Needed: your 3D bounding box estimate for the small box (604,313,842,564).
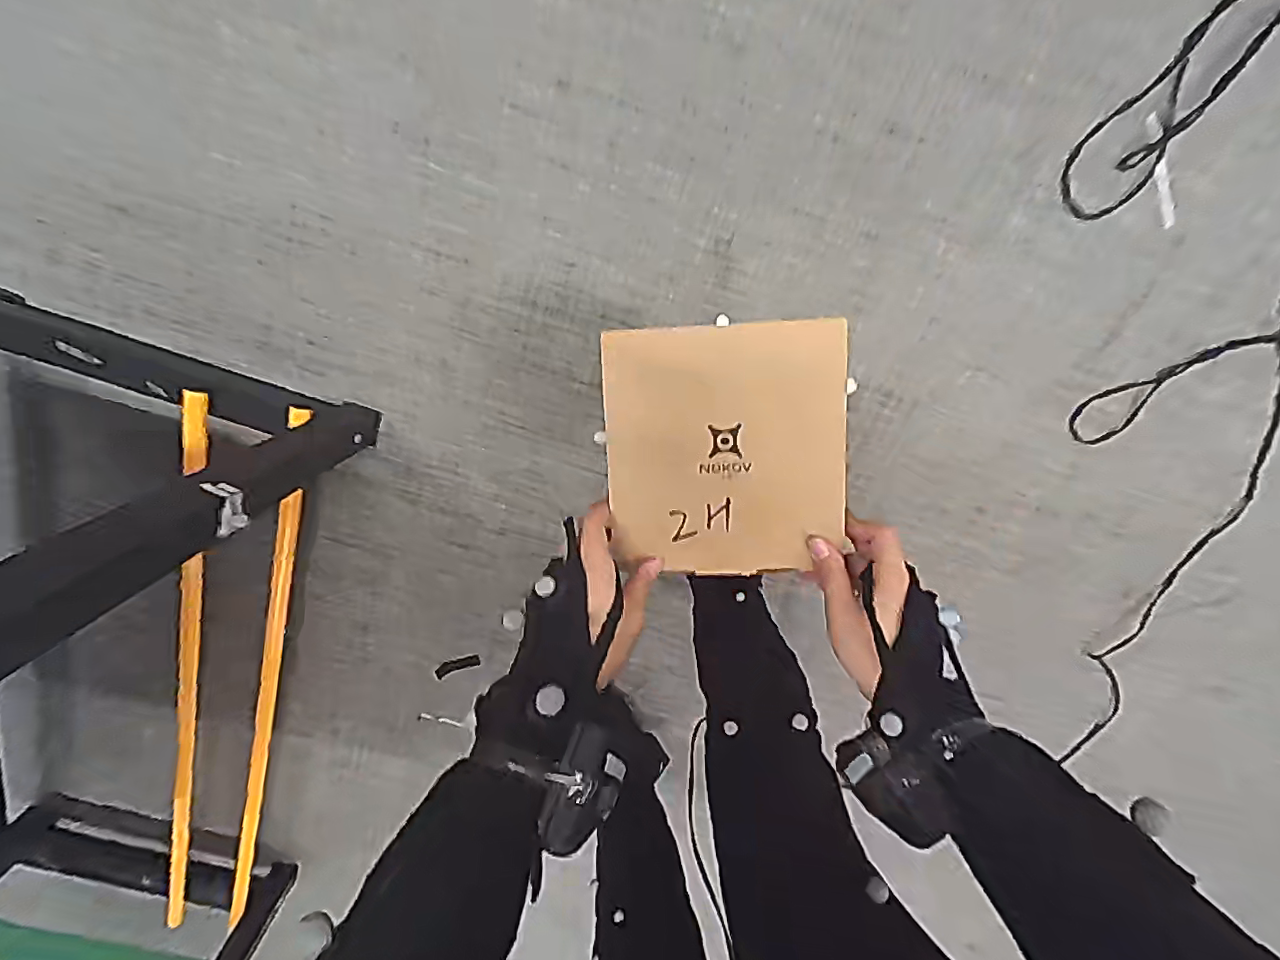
[{"bbox_3d":[0.065,-0.036,0.459,0.168,0.176,0.179,-1,99,7],"label":"small box"}]
